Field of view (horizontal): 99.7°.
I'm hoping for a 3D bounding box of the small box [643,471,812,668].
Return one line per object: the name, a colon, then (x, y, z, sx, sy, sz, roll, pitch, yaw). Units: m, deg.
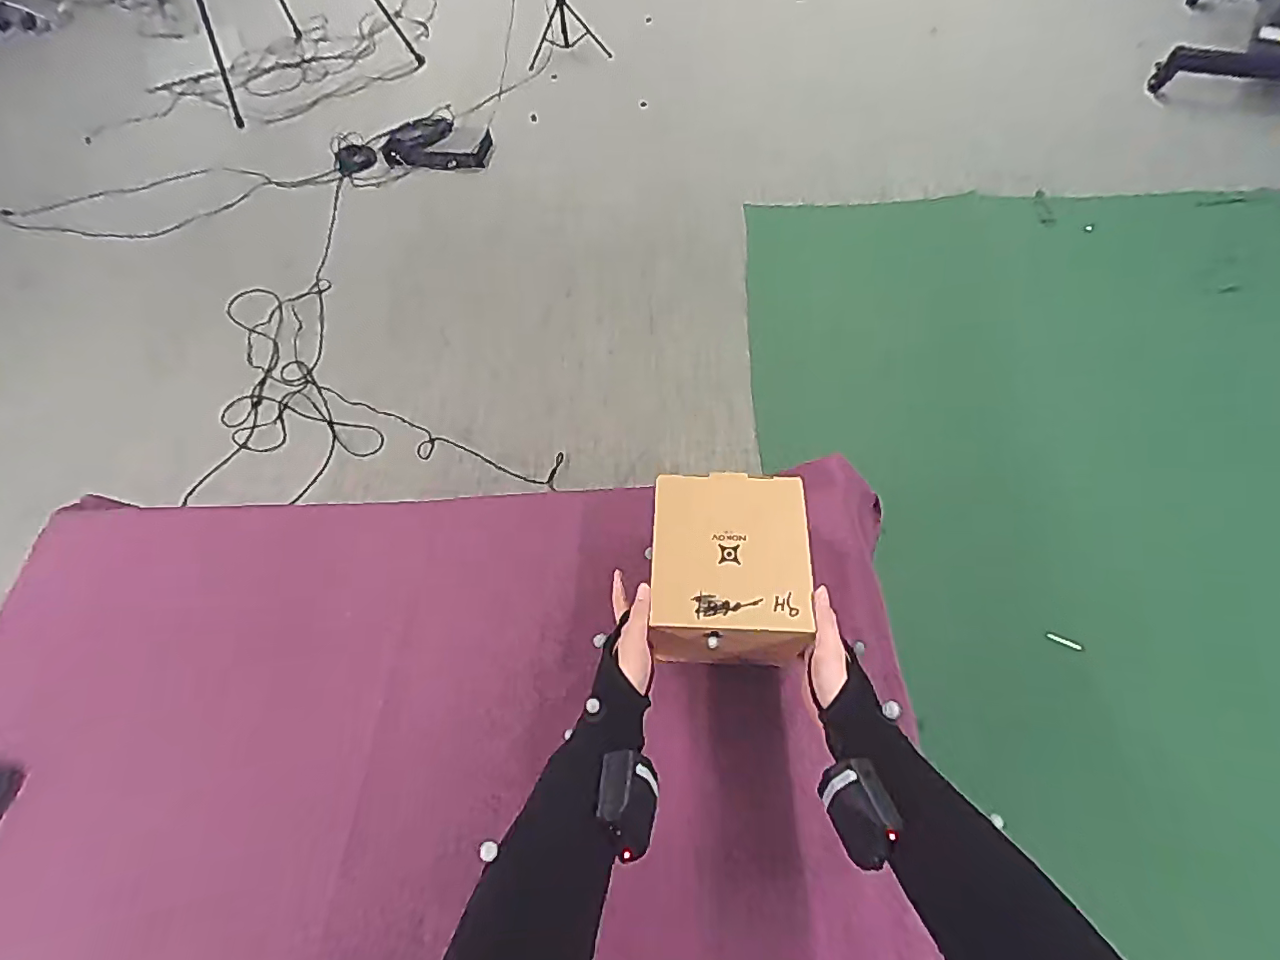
small box: (0.095, 0.107, 0.631, 0.168, 0.176, 0.179, 1, 60, 6)
